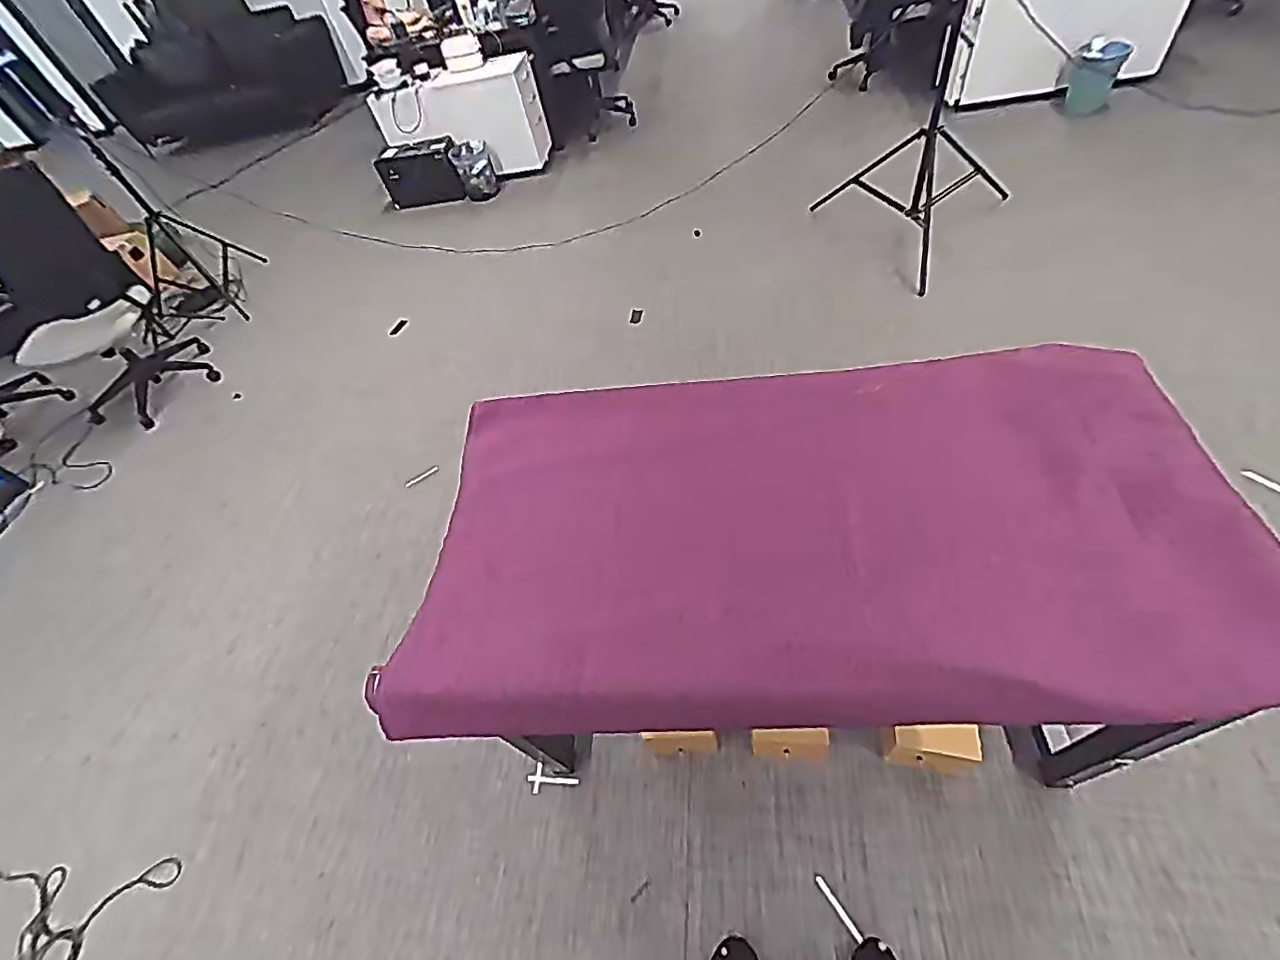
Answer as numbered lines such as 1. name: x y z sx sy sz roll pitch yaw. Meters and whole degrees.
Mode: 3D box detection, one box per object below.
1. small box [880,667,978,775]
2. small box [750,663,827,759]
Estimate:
1. small box: 0.655 0.557 1.244 0.168 0.176 0.179 4 52 16
2. small box: 0.353 0.561 1.305 0.168 0.176 0.179 -1 51 11
